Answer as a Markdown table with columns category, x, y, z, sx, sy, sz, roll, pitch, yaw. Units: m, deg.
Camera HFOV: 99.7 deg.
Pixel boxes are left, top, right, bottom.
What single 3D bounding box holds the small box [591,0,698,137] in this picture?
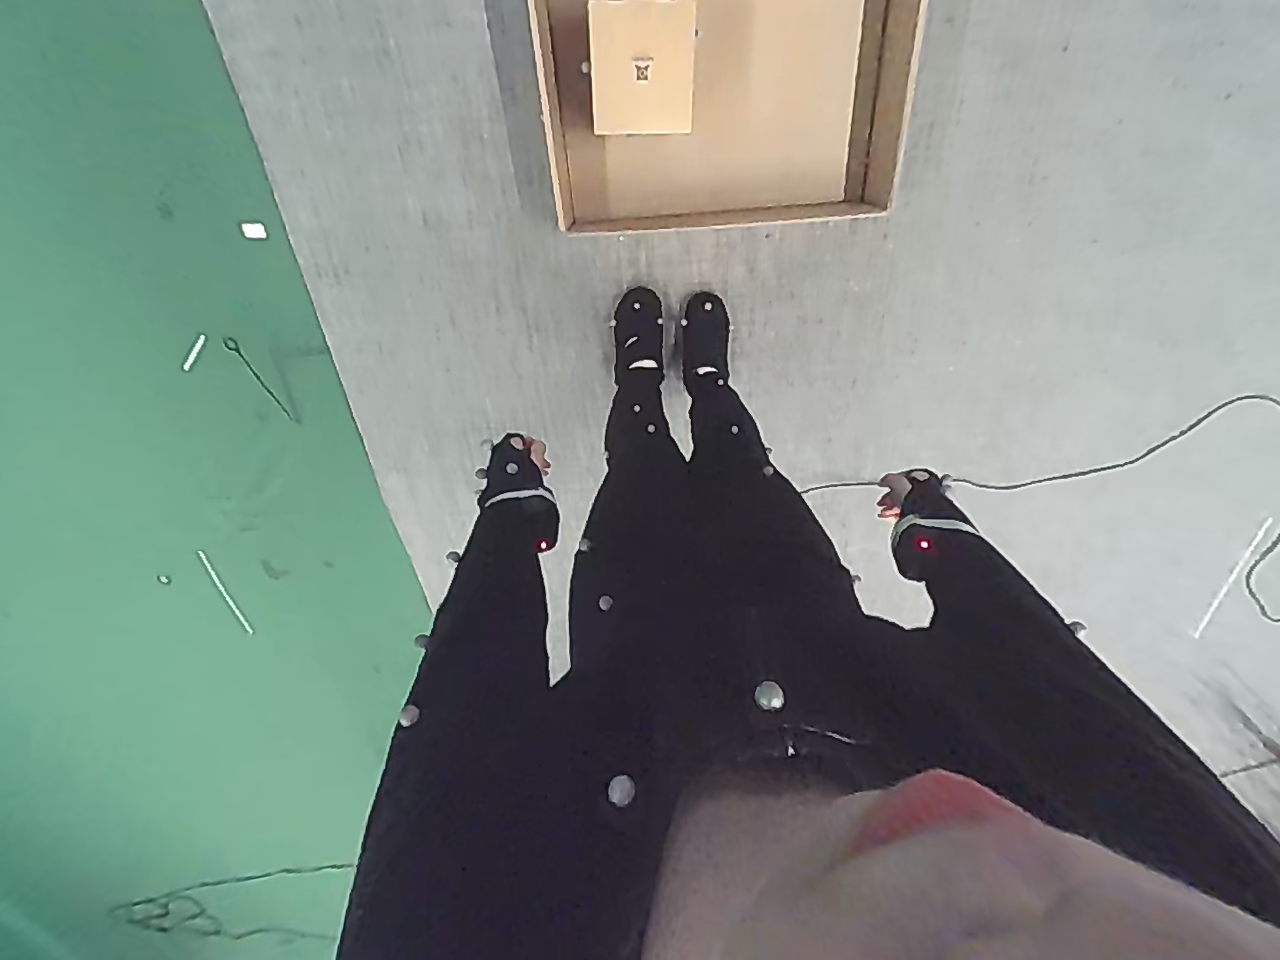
| category | x | y | z | sx | sy | sz | roll | pitch | yaw |
| --- | --- | --- | --- | --- | --- | --- | --- | --- | --- |
| small box | 0.009 | -0.694 | 0.926 | 0.168 | 0.176 | 0.179 | 0 | 122 | 1 |
